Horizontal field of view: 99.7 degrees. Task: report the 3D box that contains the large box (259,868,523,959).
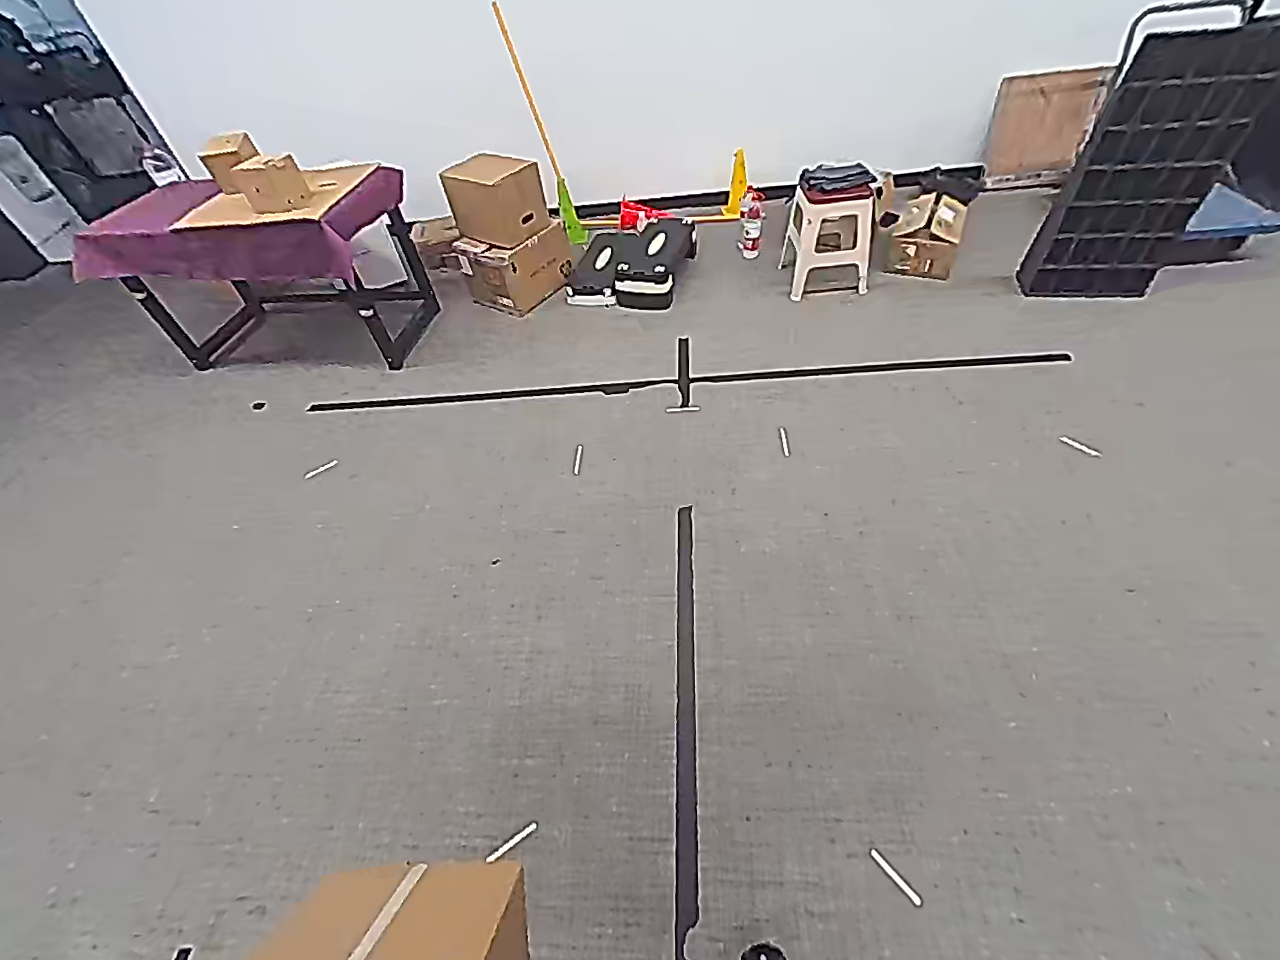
[{"bbox_3d":[-0.333,0.754,0.644,0.320,0.408,0.320,-6,86,3],"label":"large box"}]
